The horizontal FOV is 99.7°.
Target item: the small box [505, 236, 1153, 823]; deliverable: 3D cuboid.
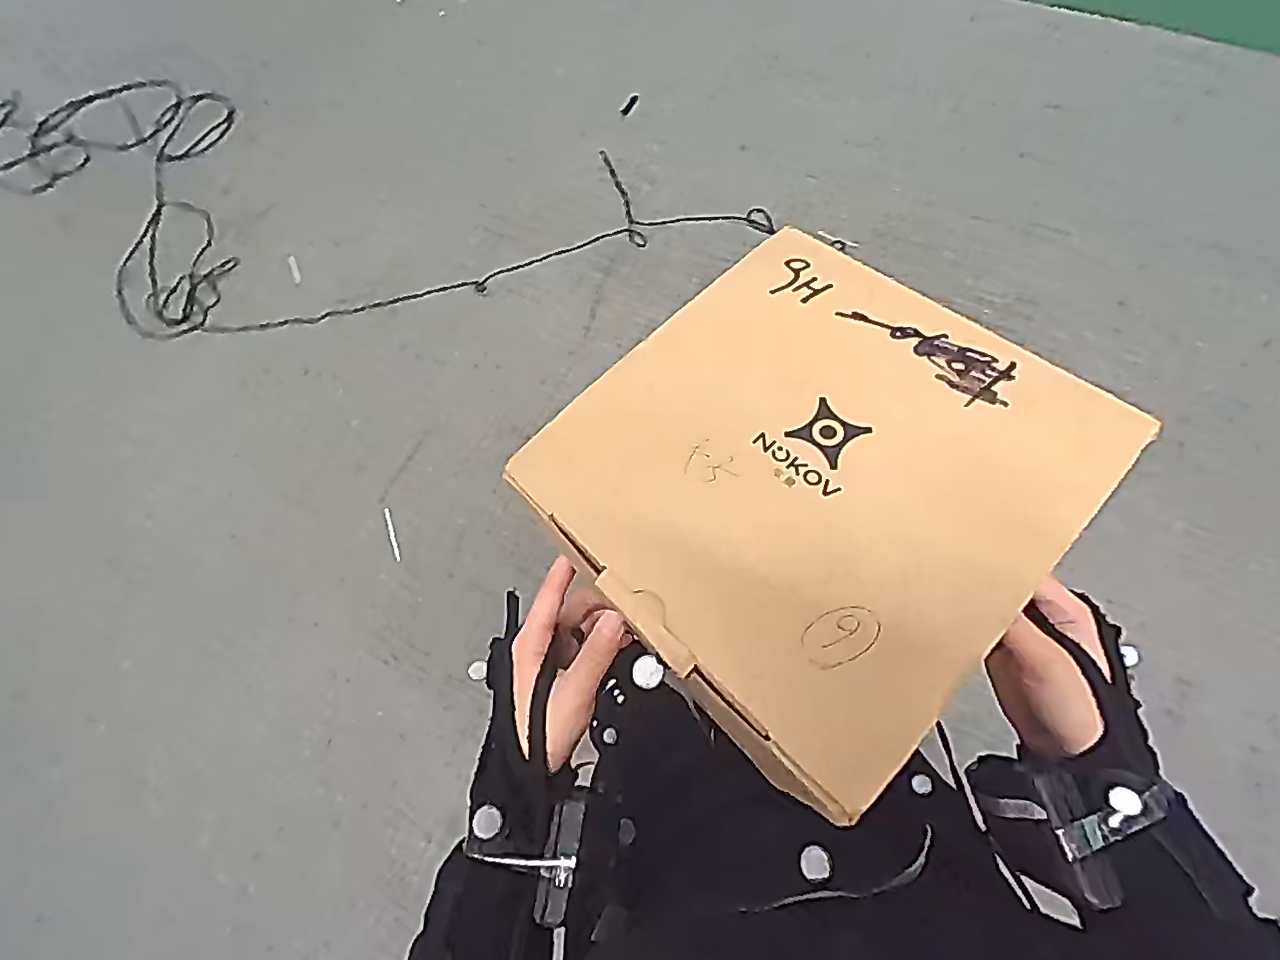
[{"bbox_3d":[0.072,0.027,0.270,0.179,0.176,0.168,-42,65,-12],"label":"small box"}]
